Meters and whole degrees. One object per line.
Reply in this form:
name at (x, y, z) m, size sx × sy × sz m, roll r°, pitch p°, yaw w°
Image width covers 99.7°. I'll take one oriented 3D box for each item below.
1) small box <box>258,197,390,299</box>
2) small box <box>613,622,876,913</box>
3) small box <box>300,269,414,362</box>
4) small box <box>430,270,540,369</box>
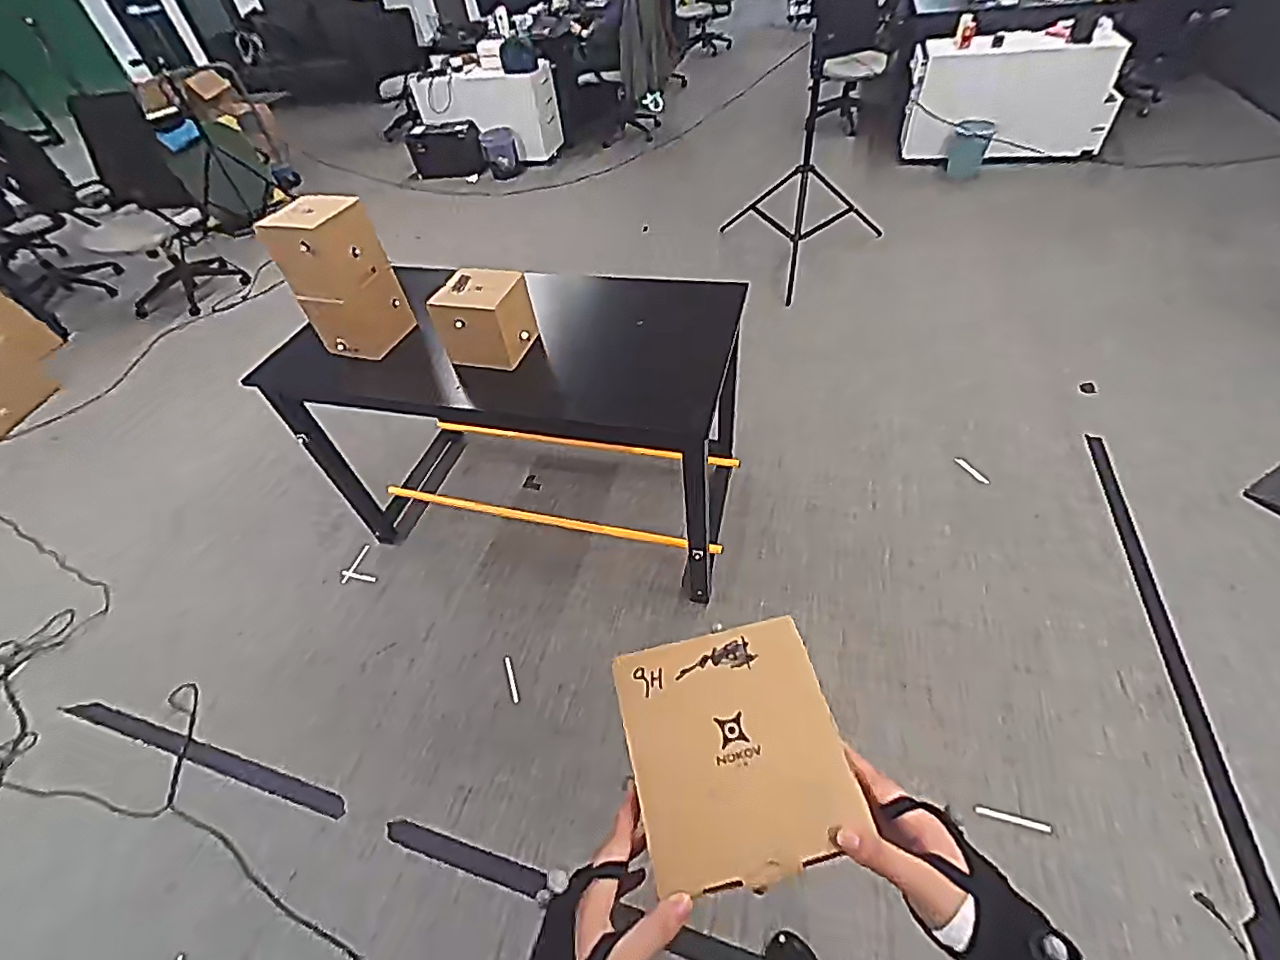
small box at (-0.733, -0.546, 1.279) m, size 0.179 × 0.176 × 0.168 m, roll 10°, pitch 50°, yaw 17°
small box at (0.077, 0.252, 0.491) m, size 0.168 × 0.176 × 0.179 m, roll -12°, pitch 59°, yaw -5°
small box at (-0.714, -0.431, 1.396) m, size 0.168 × 0.176 × 0.179 m, roll 10°, pitch 51°, yaw 17°
small box at (-0.366, -0.386, 1.309) m, size 0.179 × 0.176 × 0.168 m, roll 9°, pitch 50°, yaw 14°
